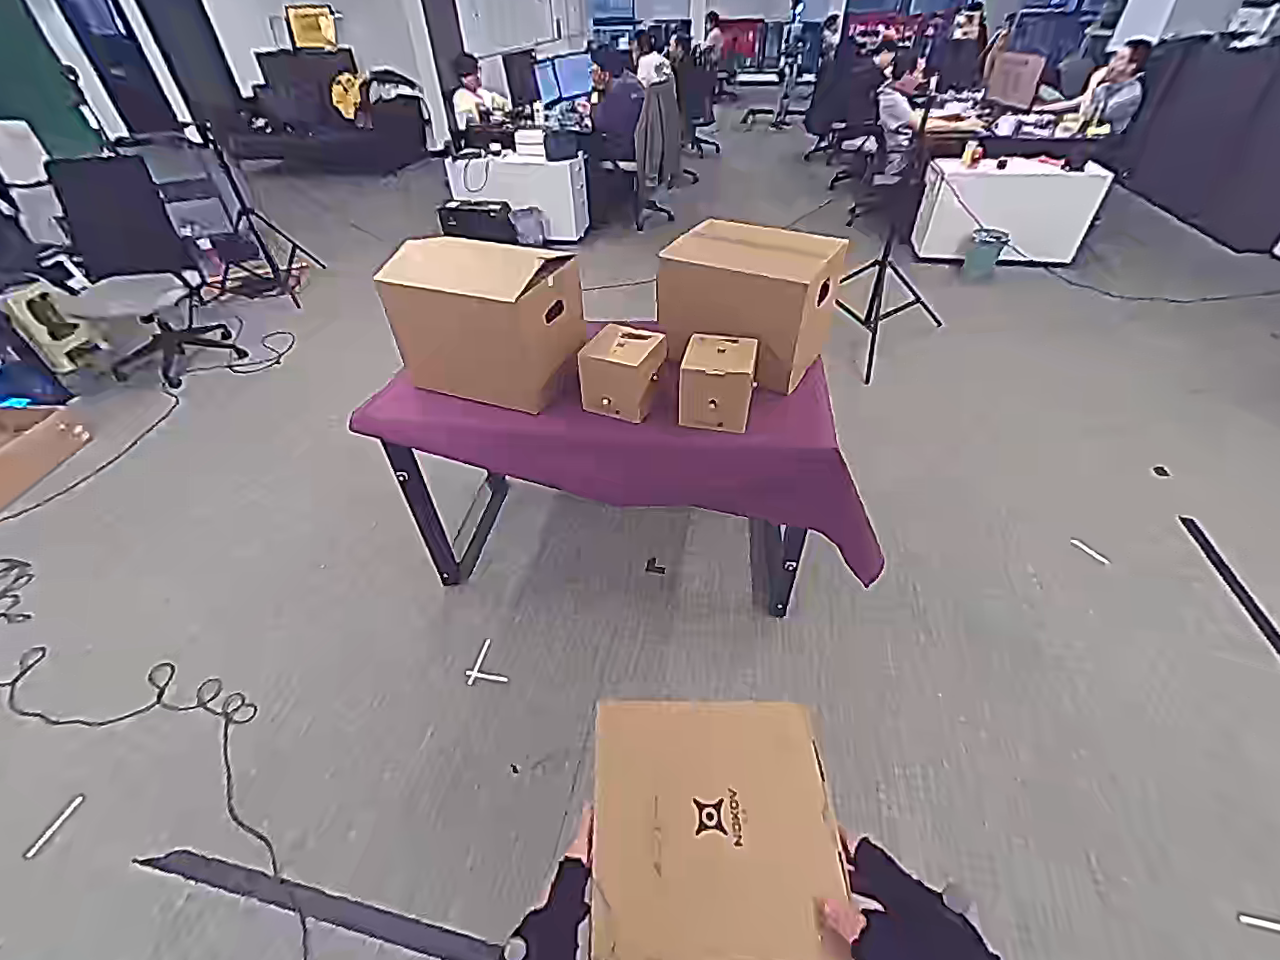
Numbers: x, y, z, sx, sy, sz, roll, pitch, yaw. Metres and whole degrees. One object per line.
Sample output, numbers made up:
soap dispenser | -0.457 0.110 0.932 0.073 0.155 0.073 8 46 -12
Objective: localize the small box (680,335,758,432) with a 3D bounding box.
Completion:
small box | 0.194 -0.239 1.340 0.168 0.176 0.179 8 43 10
